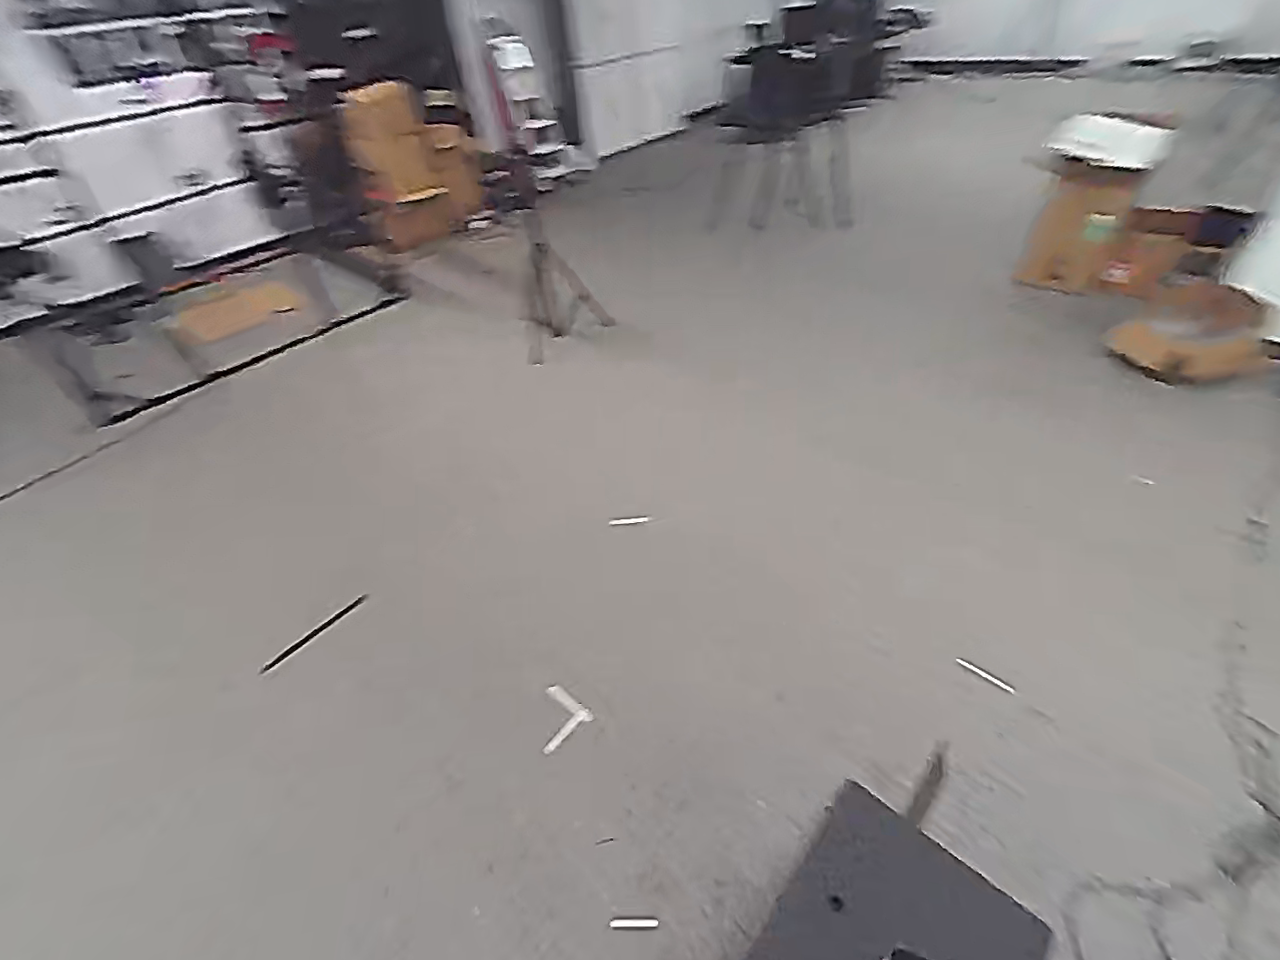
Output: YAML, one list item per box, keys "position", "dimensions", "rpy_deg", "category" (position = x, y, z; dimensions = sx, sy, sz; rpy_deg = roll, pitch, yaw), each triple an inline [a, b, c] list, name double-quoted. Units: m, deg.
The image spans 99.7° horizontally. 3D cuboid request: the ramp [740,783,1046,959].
- position: [0.405, 1.121, 1.041]
  dimensions: [0.509, 0.206, 0.991]
  rpy_deg: [26, 52, 32]
  category: "ramp"
